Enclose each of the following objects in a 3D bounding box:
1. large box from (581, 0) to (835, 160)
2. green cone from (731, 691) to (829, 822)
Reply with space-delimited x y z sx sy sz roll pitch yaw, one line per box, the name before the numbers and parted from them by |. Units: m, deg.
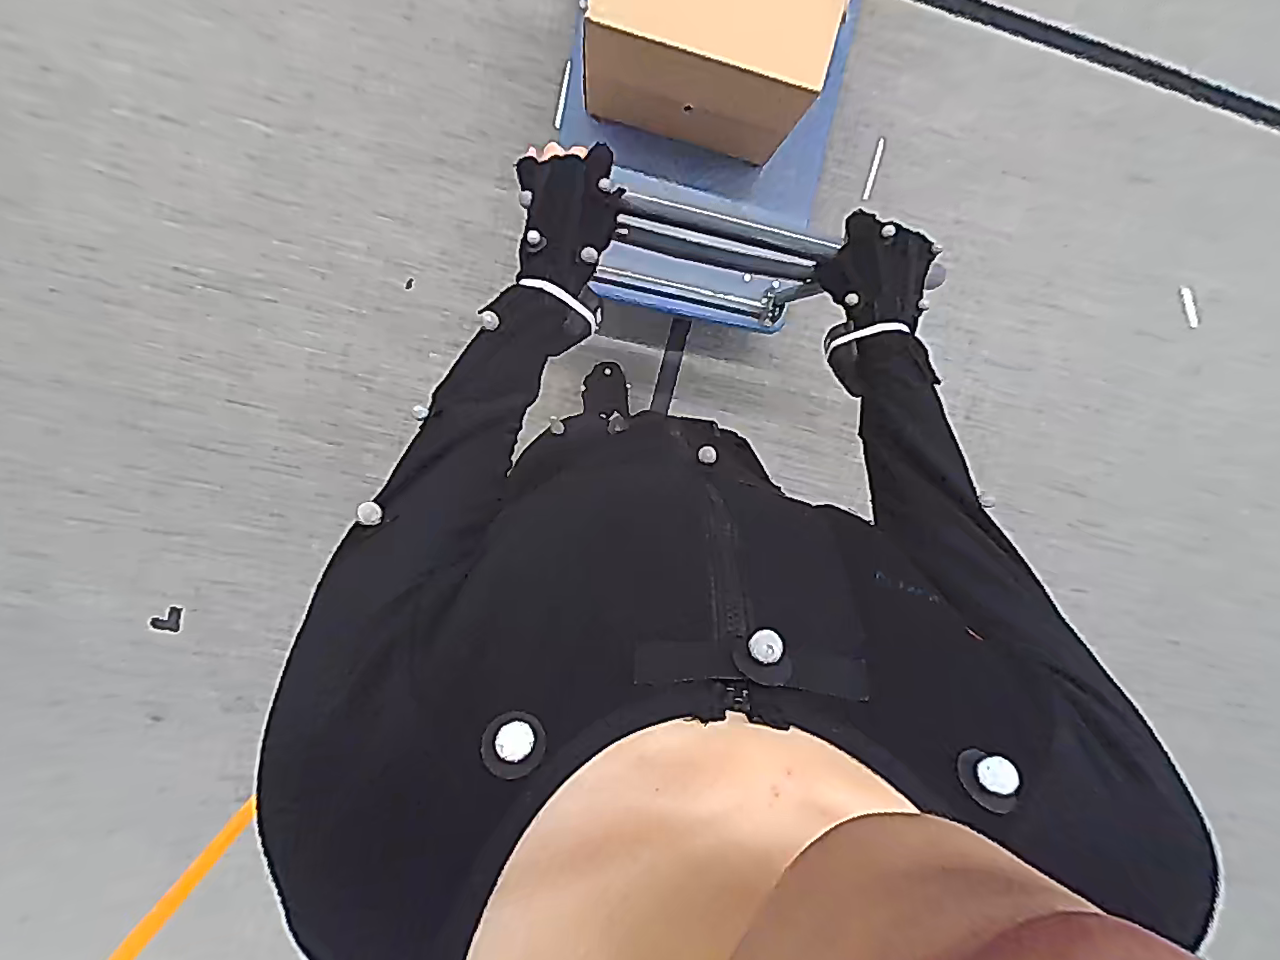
large box | 0.121 -0.862 1.012 0.408 0.320 0.320 12 98 -6
green cone | 0.409 0.772 1.467 0.202 0.368 0.200 17 98 -9
